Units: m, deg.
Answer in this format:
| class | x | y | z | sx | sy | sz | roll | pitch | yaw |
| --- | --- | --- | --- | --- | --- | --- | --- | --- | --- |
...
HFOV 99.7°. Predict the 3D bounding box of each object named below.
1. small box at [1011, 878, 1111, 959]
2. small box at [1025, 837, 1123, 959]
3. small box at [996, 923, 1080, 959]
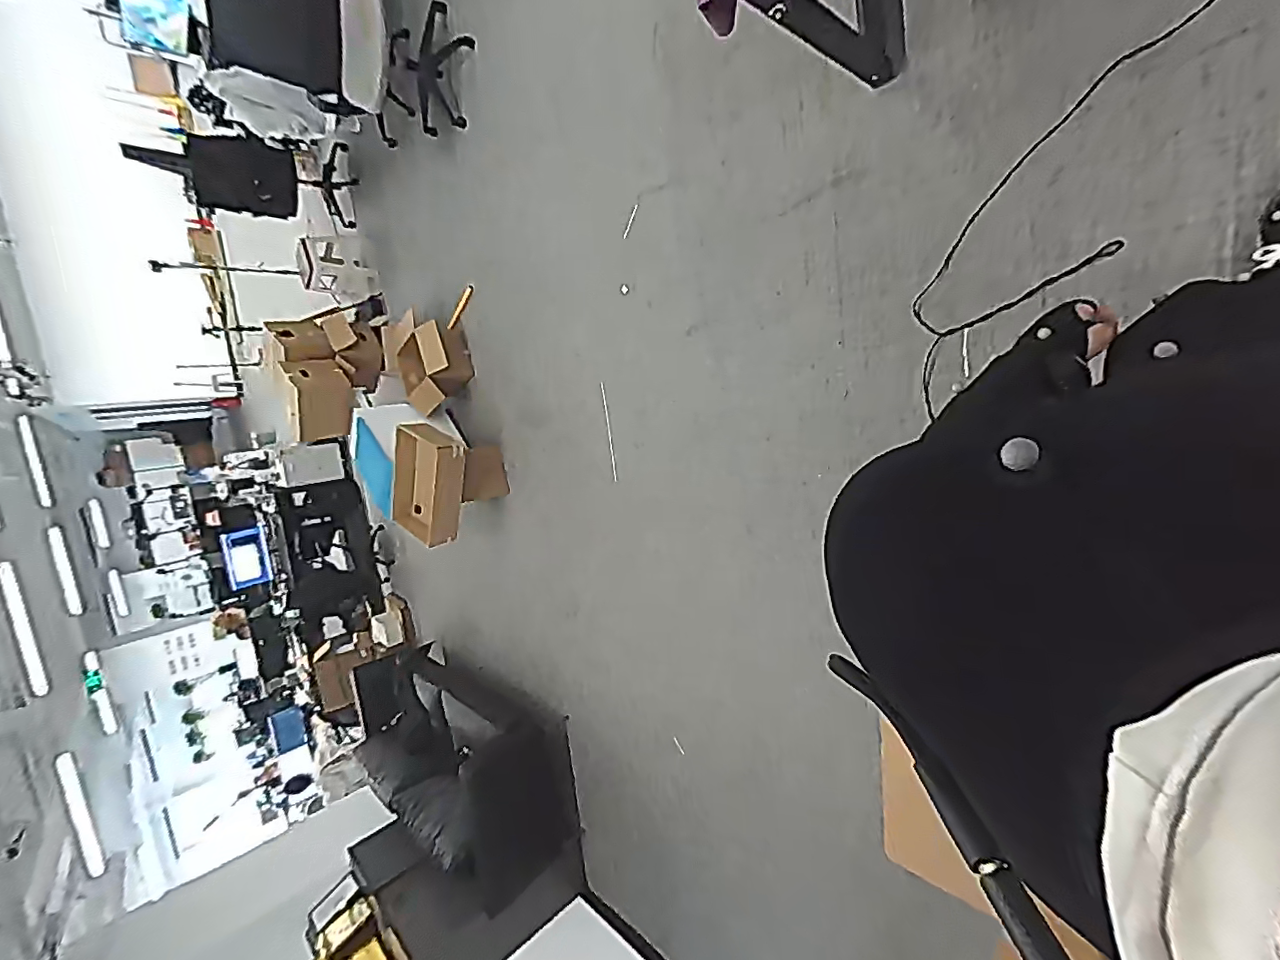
| class | x | y | z | sx | sy | sz | roll | pitch | yaw |
| --- | --- | --- | --- | --- | --- | --- | --- | --- | --- |
| small box | 1.014 | 1.119 | 1.299 | 0.168 | 0.176 | 0.179 | -2 | 100 | 48 |
| small box | 1.132 | 1.088 | 1.407 | 0.168 | 0.176 | 0.179 | -7 | 95 | 48 |
| small box | 0.893 | 1.151 | 1.196 | 0.168 | 0.176 | 0.179 | -2 | 100 | 47 |
